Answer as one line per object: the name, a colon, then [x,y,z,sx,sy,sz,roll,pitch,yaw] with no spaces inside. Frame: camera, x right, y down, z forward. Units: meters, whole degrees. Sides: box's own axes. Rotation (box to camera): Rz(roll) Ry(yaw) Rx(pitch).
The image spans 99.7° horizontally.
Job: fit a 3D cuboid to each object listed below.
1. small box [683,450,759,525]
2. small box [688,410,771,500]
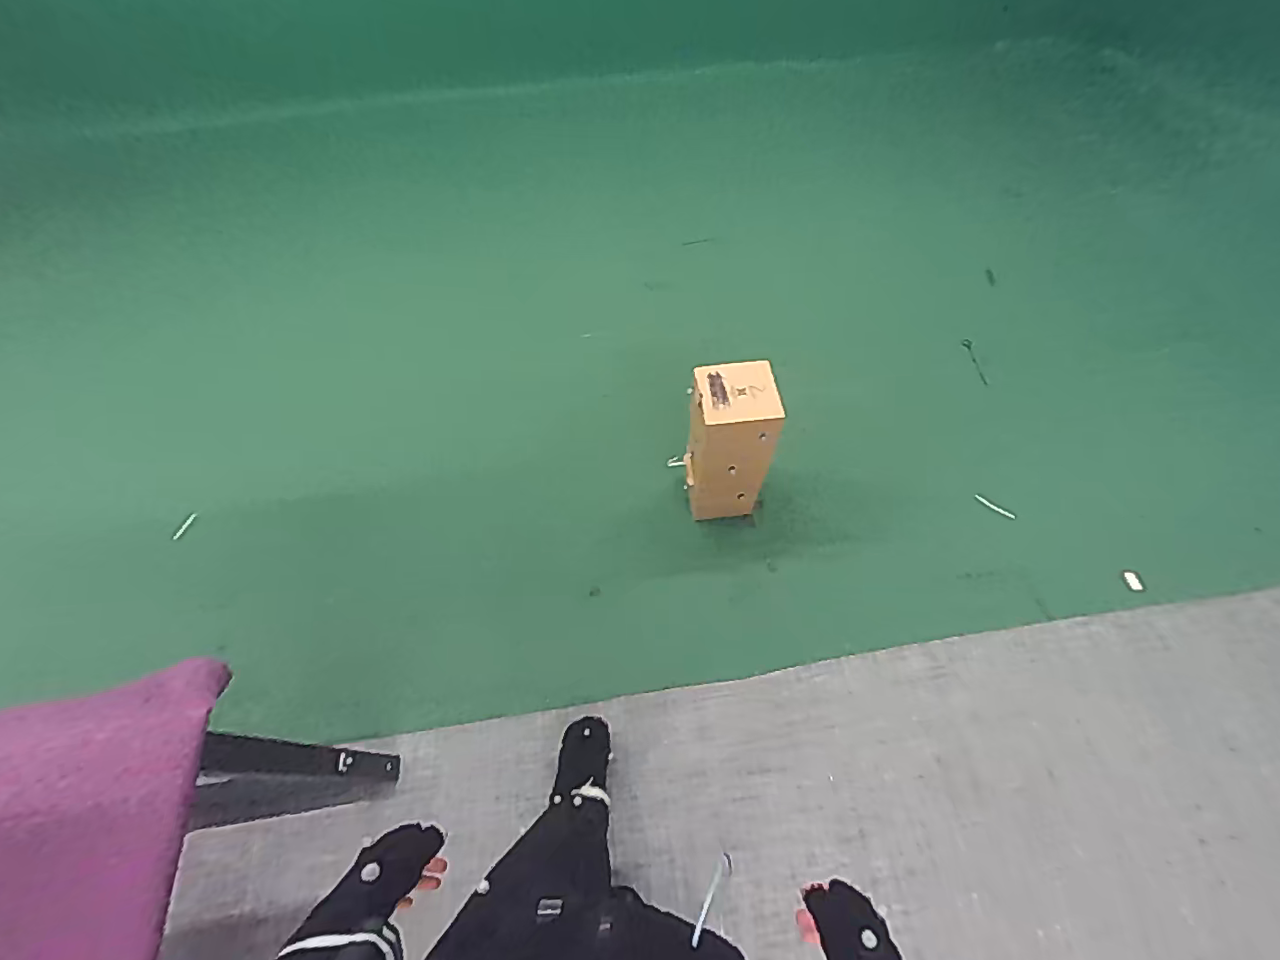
small box: [0.226,0.015,1.556,0.179,0.176,0.168,-6,59,-3]
small box: [0.226,-0.062,1.413,0.179,0.176,0.168,-6,60,-2]
